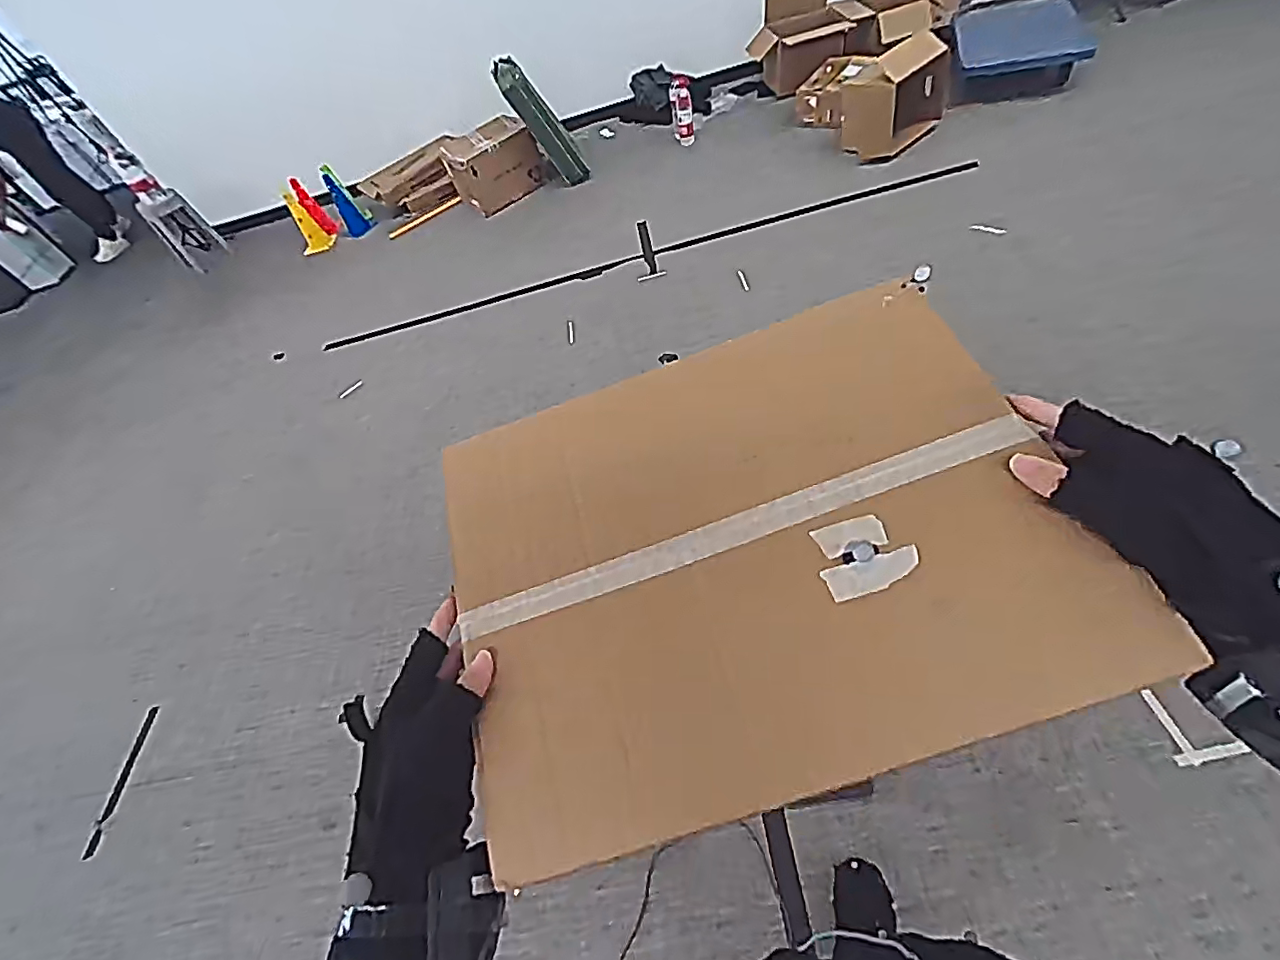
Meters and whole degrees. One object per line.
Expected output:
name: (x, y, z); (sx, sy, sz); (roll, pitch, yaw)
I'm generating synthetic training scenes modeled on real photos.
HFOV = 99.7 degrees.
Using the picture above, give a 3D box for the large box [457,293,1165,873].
large box: (0.099, 0.105, 0.512); (0.408, 0.320, 0.320); (-20, 62, 3)
